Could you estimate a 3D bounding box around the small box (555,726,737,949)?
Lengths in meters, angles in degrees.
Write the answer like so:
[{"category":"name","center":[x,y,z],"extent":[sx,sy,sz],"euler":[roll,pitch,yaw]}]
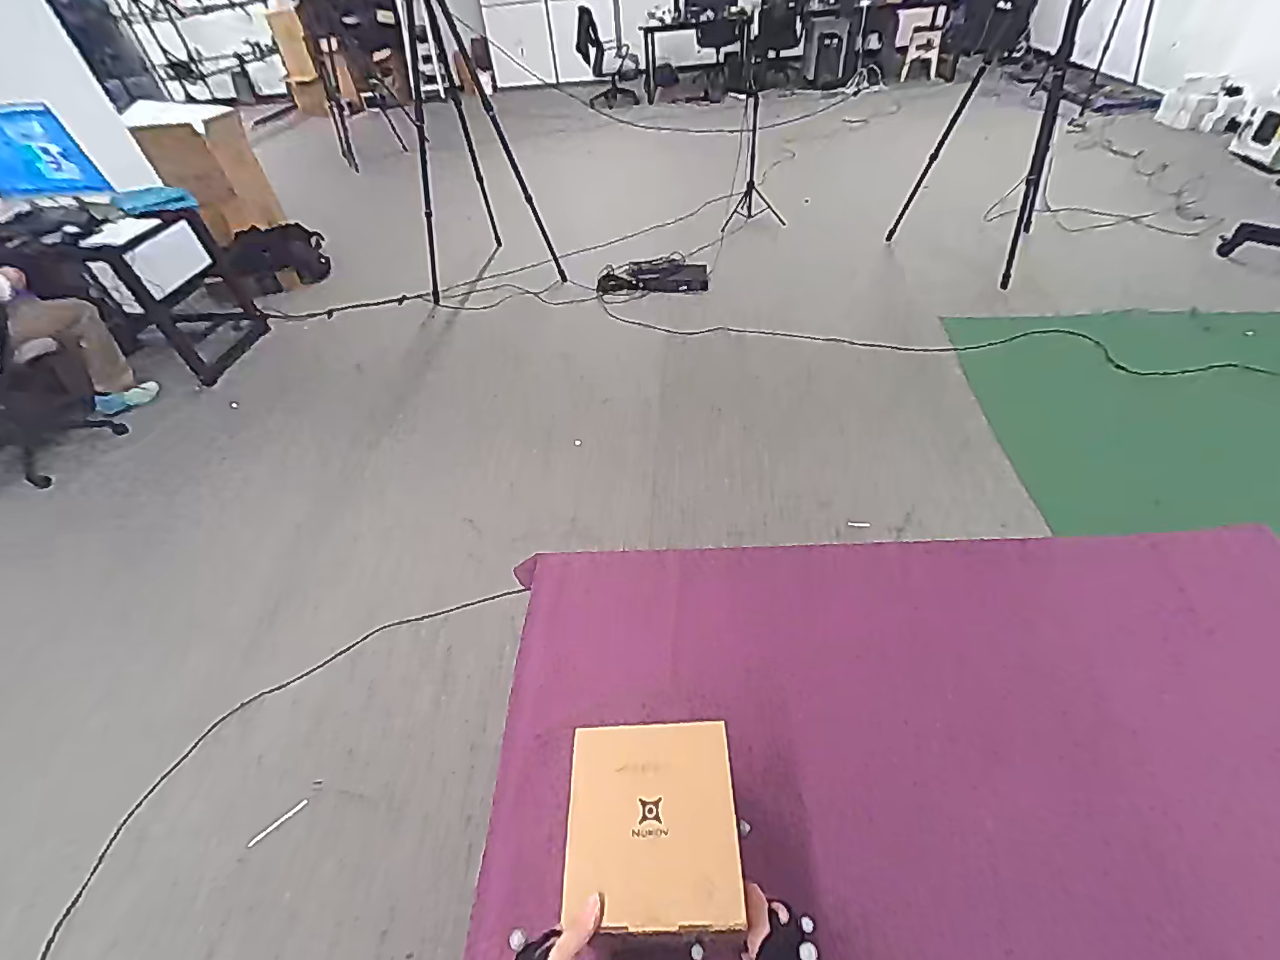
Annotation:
[{"category":"small box","center":[0.015,0.388,0.585],"extent":[0.168,0.176,0.179],"euler":[-3,44,4]}]
